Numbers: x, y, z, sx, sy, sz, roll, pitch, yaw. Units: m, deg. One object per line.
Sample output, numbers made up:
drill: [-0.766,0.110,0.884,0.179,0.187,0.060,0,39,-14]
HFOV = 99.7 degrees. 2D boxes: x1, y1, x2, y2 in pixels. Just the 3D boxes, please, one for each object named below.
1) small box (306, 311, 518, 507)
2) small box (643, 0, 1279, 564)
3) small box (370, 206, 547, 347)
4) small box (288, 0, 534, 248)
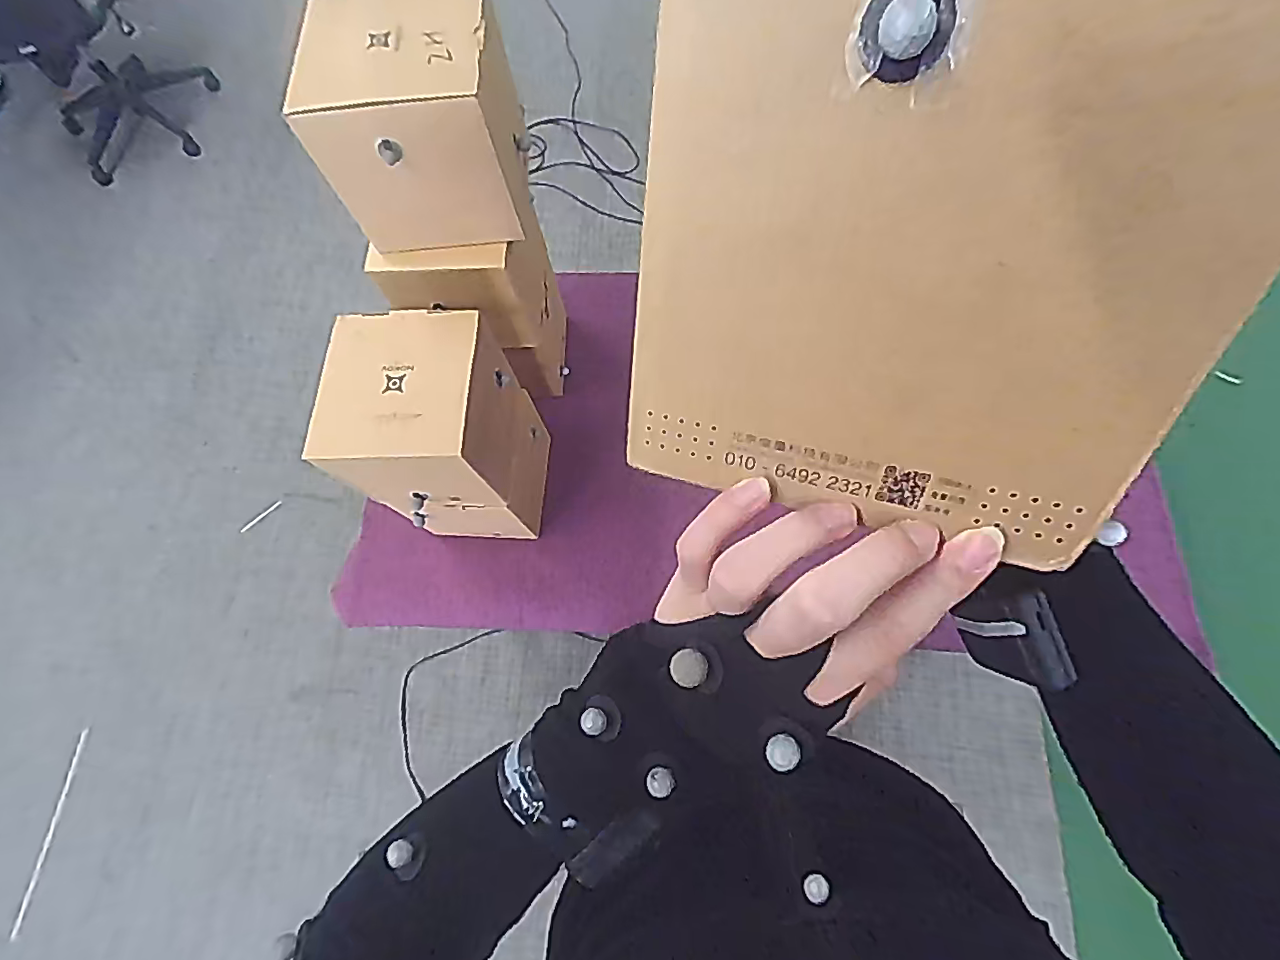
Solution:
small box: [-0.250,-0.077,0.643,0.168,0.176,0.179,0,70,4]
small box: [0.106,-0.096,0.234,0.168,0.176,0.179,15,33,15]
small box: [-0.225,-0.291,0.719,0.168,0.176,0.179,-1,70,3]
small box: [-0.221,-0.370,0.572,0.179,0.176,0.168,-3,71,2]
